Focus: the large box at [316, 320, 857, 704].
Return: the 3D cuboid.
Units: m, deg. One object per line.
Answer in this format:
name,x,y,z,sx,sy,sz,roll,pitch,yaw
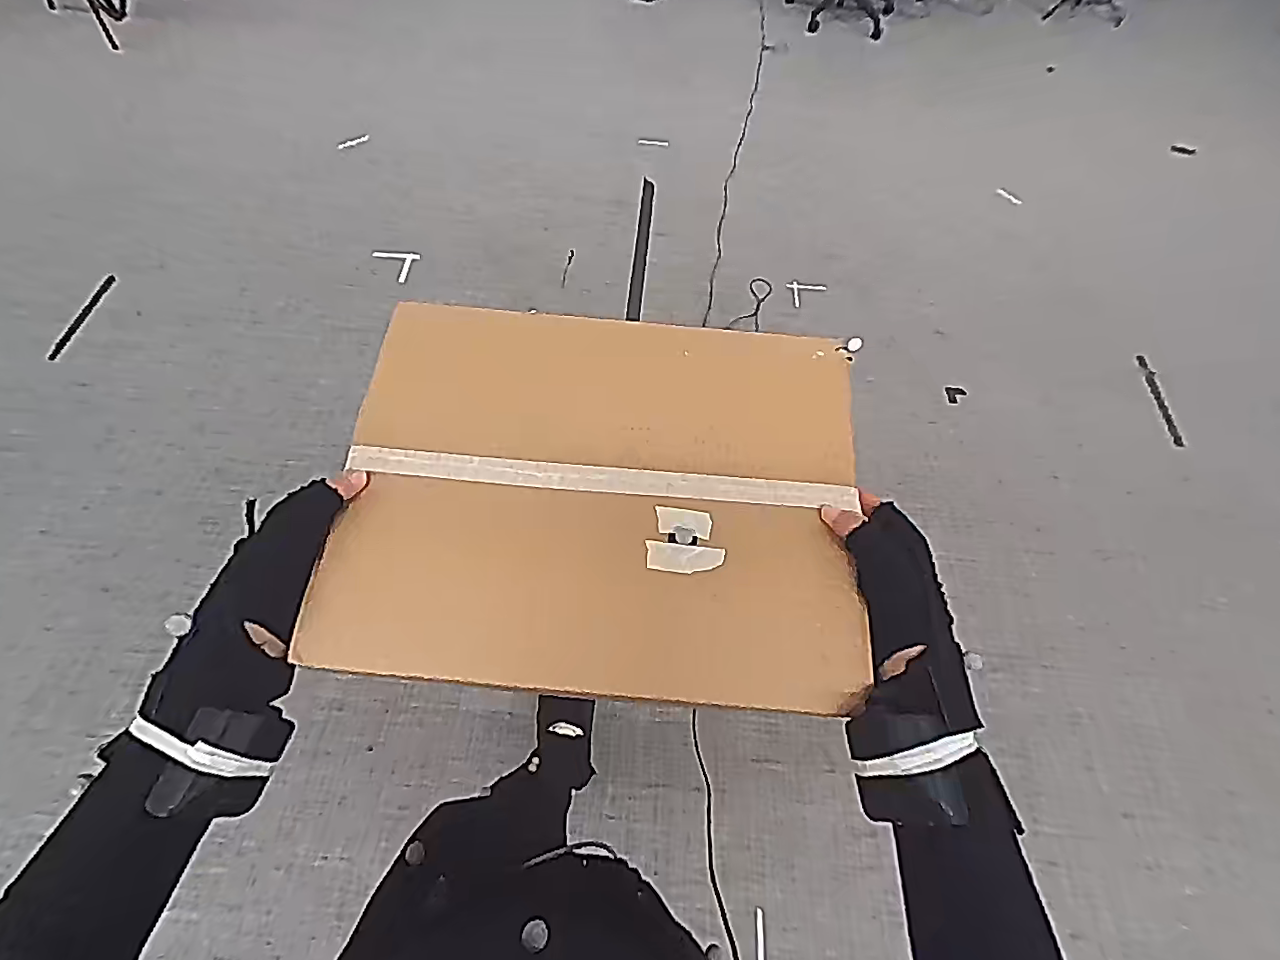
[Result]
large box,-0.034,0.062,0.584,0.408,0.320,0.320,5,69,0
